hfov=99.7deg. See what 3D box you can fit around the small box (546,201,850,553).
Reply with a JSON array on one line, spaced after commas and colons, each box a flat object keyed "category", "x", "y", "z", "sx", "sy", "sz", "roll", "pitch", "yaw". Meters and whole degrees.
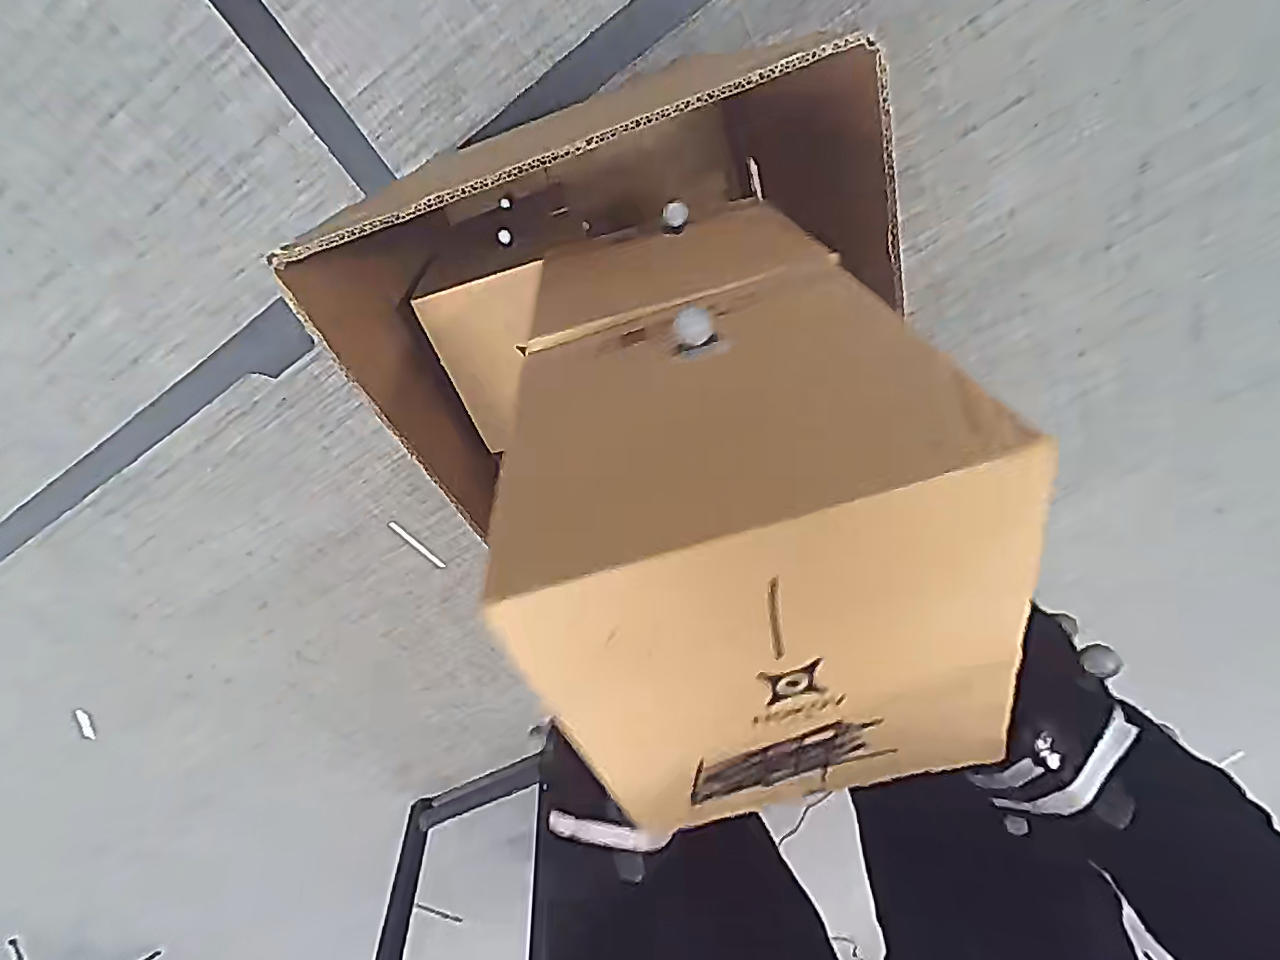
[{"category": "small box", "x": 0.040, "y": -0.078, "z": 0.397, "sx": 0.168, "sy": 0.176, "sz": 0.179, "roll": -13, "pitch": 128, "yaw": 4}]
